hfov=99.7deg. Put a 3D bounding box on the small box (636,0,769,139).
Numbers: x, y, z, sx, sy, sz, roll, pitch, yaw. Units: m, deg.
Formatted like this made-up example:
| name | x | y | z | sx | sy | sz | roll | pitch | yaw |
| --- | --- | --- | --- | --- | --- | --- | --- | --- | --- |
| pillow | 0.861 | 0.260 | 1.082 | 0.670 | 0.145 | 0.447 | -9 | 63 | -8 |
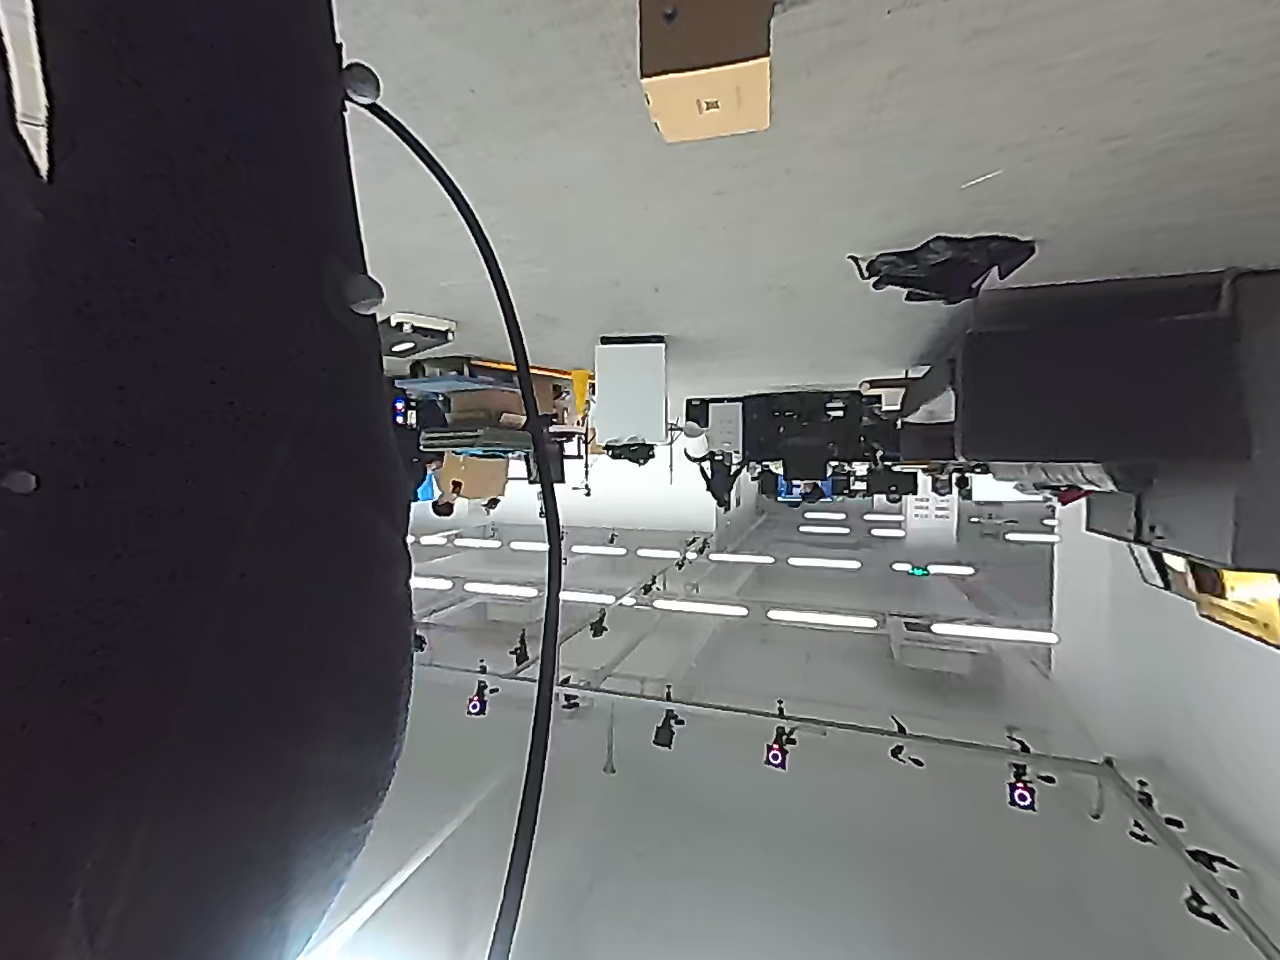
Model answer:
| name | x | y | z | sx | sy | sz | roll | pitch | yaw |
| --- | --- | --- | --- | --- | --- | --- | --- | --- | --- |
| small box | 0.096 | -0.634 | 0.781 | 0.179 | 0.176 | 0.168 | -1 | -176 | 13 |
